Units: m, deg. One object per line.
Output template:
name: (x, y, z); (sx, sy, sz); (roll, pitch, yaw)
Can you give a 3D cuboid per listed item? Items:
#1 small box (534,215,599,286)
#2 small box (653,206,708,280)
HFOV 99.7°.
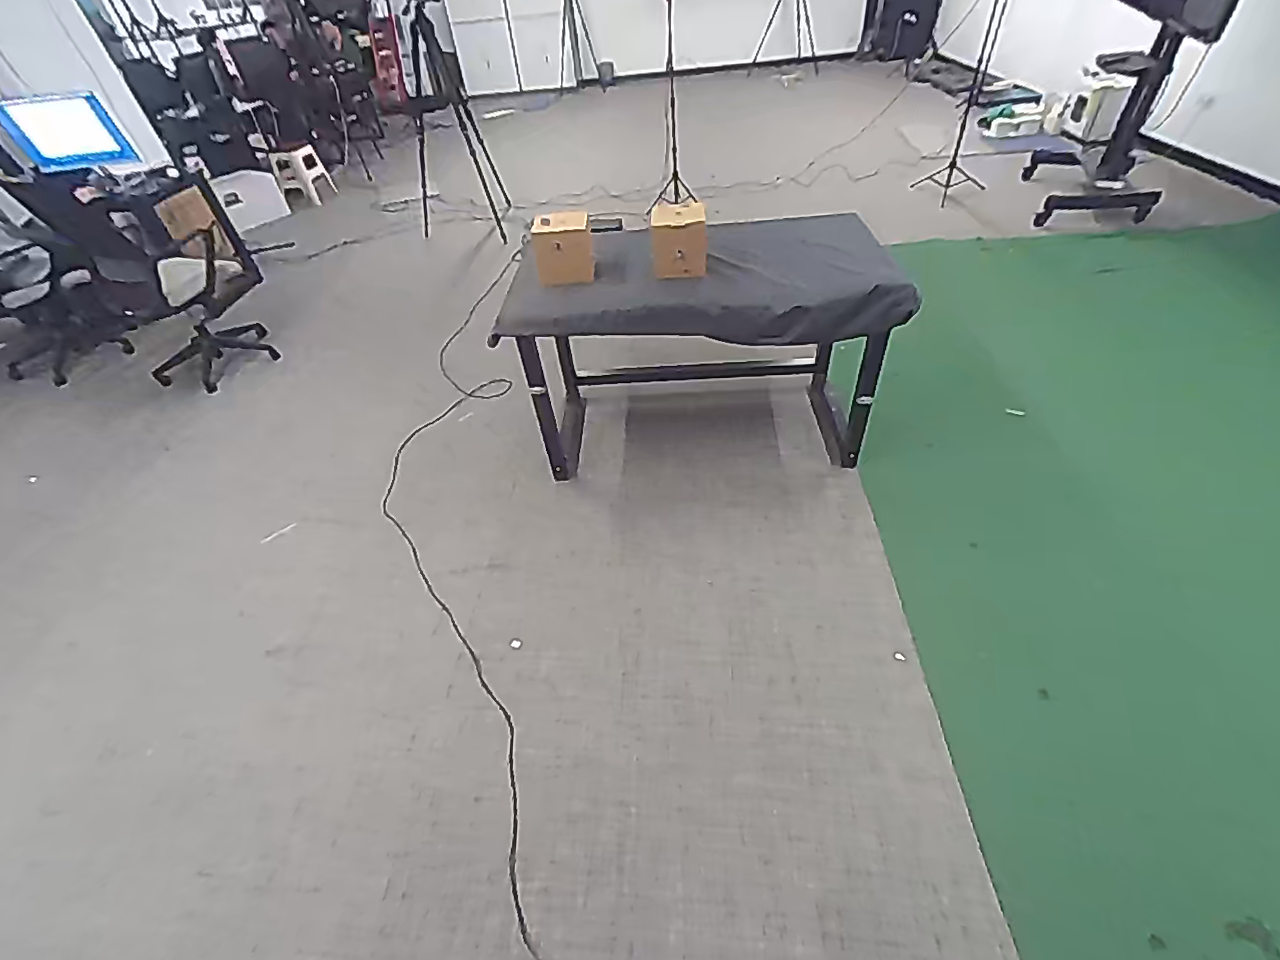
small box: (-0.234, -0.748, 1.767); (0.179, 0.176, 0.168); (-3, 44, 2)
small box: (0.134, -0.753, 1.730); (0.168, 0.176, 0.179); (-1, 44, 6)
